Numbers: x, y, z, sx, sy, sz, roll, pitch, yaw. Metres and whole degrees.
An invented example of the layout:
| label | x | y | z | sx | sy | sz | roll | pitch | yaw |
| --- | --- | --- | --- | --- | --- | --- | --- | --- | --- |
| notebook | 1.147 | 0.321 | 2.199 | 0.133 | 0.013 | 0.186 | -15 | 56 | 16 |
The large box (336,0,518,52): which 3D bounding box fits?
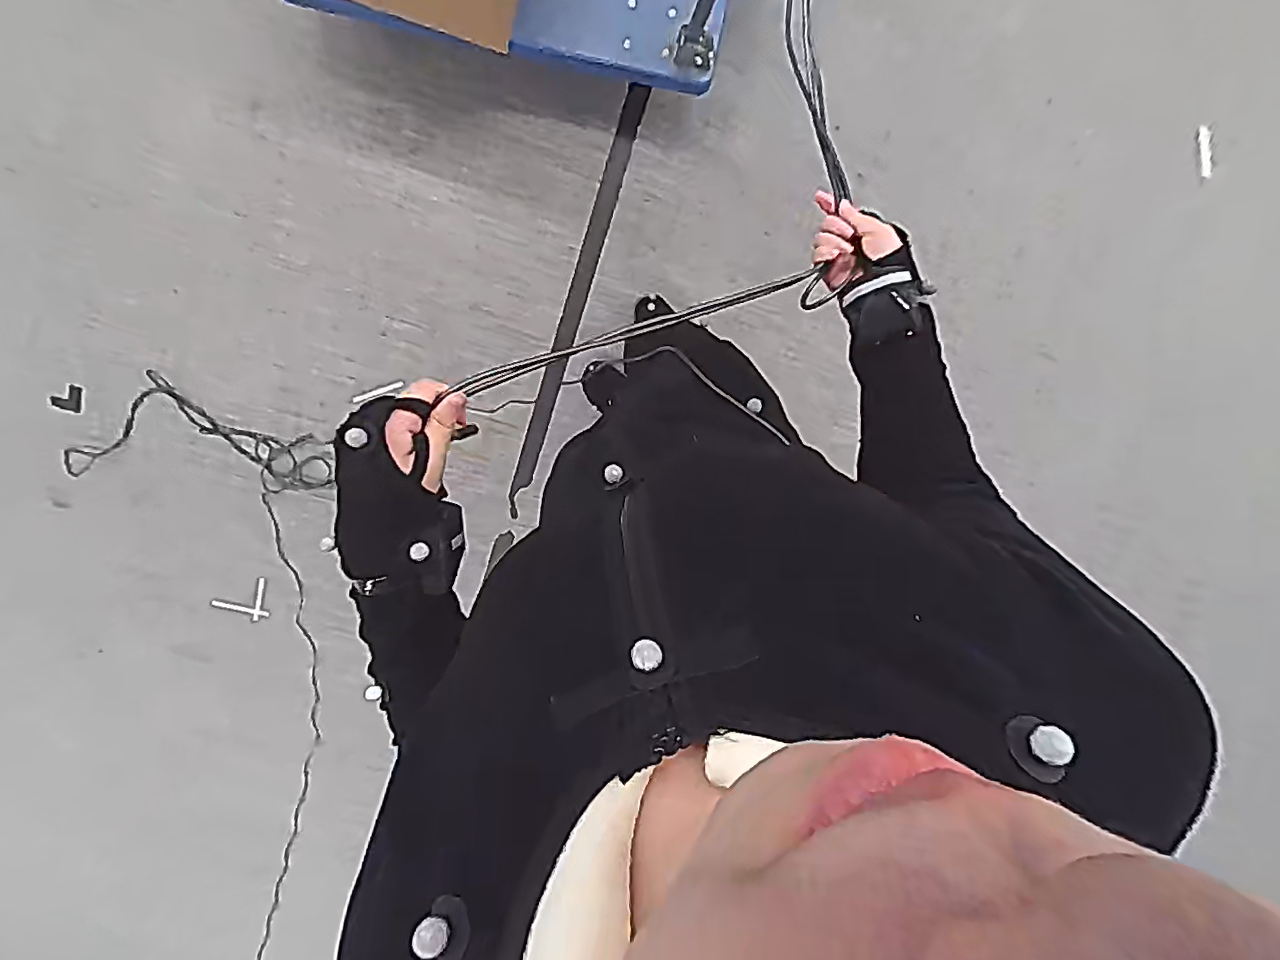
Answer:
| label | x | y | z | sx | sy | sz | roll | pitch | yaw |
| --- | --- | --- | --- | --- | --- | --- | --- | --- | --- |
| large box | -0.402 | -0.979 | 0.858 | 0.408 | 0.320 | 0.320 | 14 | 103 | -7 |
